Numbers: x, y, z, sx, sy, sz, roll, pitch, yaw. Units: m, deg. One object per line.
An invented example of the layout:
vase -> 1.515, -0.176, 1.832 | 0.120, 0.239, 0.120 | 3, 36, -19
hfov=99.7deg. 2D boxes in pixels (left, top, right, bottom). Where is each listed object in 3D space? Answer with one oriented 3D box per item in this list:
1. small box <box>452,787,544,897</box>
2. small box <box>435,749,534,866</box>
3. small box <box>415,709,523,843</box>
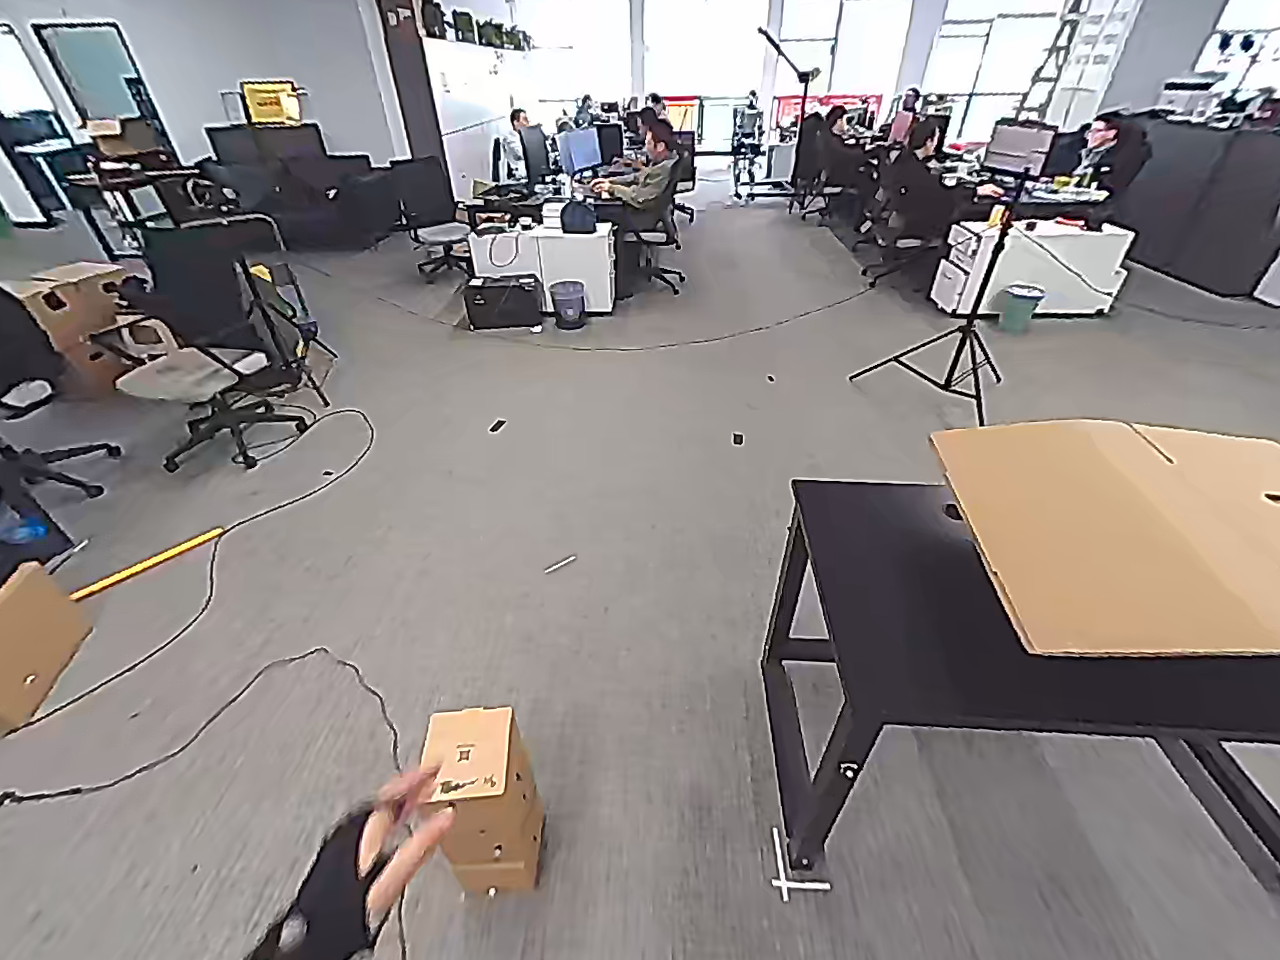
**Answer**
small box -> -0.327, 0.857, 1.284 | 0.168, 0.176, 0.179 | -1, 38, 0
small box -> -0.331, 0.724, 1.192 | 0.168, 0.176, 0.179 | -2, 35, -3
small box -> -0.332, 0.594, 1.090 | 0.168, 0.176, 0.179 | -4, 36, -4
